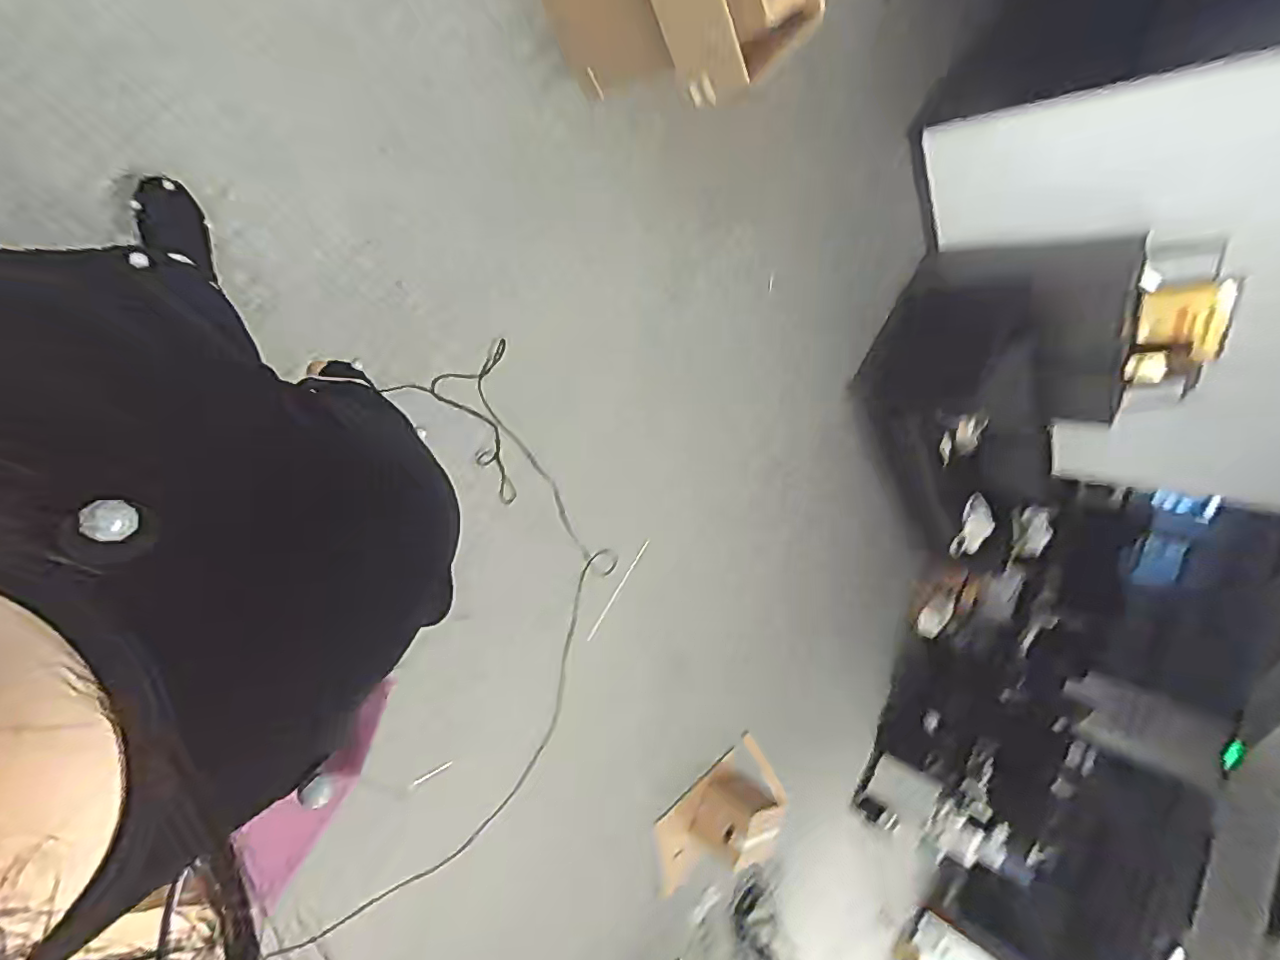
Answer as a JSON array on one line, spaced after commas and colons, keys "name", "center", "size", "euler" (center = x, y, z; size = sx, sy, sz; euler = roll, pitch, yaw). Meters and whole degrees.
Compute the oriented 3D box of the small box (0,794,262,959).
[{"name": "small box", "center": [-0.582, 0.492, 0.616], "size": [0.168, 0.176, 0.179], "euler": [41, 75, -44]}]
